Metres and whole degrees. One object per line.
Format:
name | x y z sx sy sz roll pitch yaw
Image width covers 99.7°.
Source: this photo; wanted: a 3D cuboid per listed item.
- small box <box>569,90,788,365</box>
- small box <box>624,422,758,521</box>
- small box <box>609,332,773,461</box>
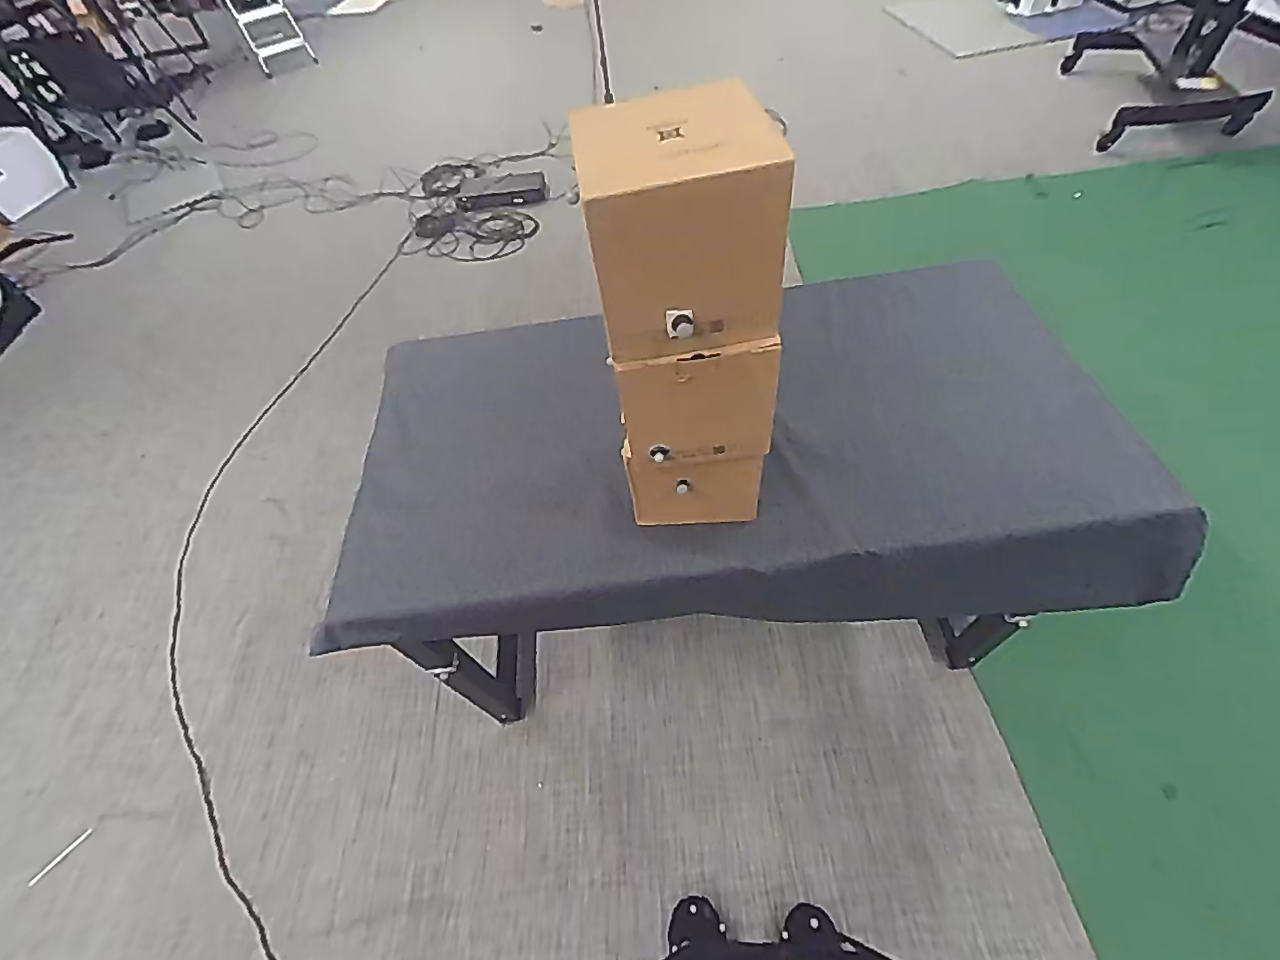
small box | 0.032 -0.241 0.528 0.168 0.176 0.179 -11 54 1
small box | 0.073 -0.052 0.793 0.179 0.176 0.168 -5 52 3
small box | 0.054 -0.138 0.651 0.168 0.176 0.179 -10 54 1
